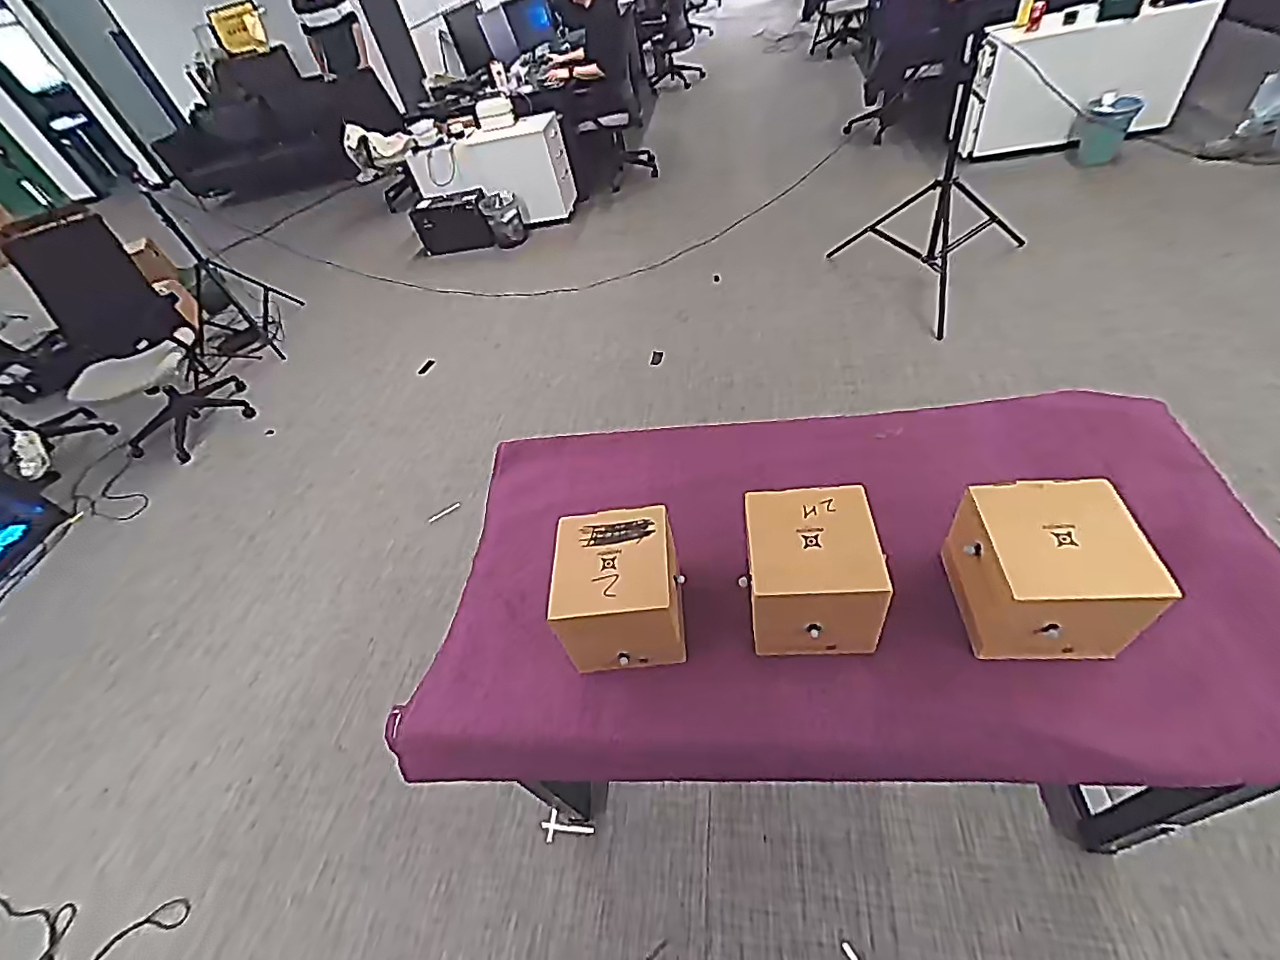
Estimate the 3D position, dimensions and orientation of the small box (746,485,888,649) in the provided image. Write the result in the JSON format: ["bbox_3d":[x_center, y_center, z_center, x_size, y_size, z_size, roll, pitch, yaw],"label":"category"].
[{"bbox_3d":[0.243,0.130,0.779,0.168,0.176,0.179,-3,46,10],"label":"small box"}]

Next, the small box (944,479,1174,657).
[{"bbox_3d":[0.528,0.122,0.717,0.168,0.176,0.179,-4,47,11],"label":"small box"}]
